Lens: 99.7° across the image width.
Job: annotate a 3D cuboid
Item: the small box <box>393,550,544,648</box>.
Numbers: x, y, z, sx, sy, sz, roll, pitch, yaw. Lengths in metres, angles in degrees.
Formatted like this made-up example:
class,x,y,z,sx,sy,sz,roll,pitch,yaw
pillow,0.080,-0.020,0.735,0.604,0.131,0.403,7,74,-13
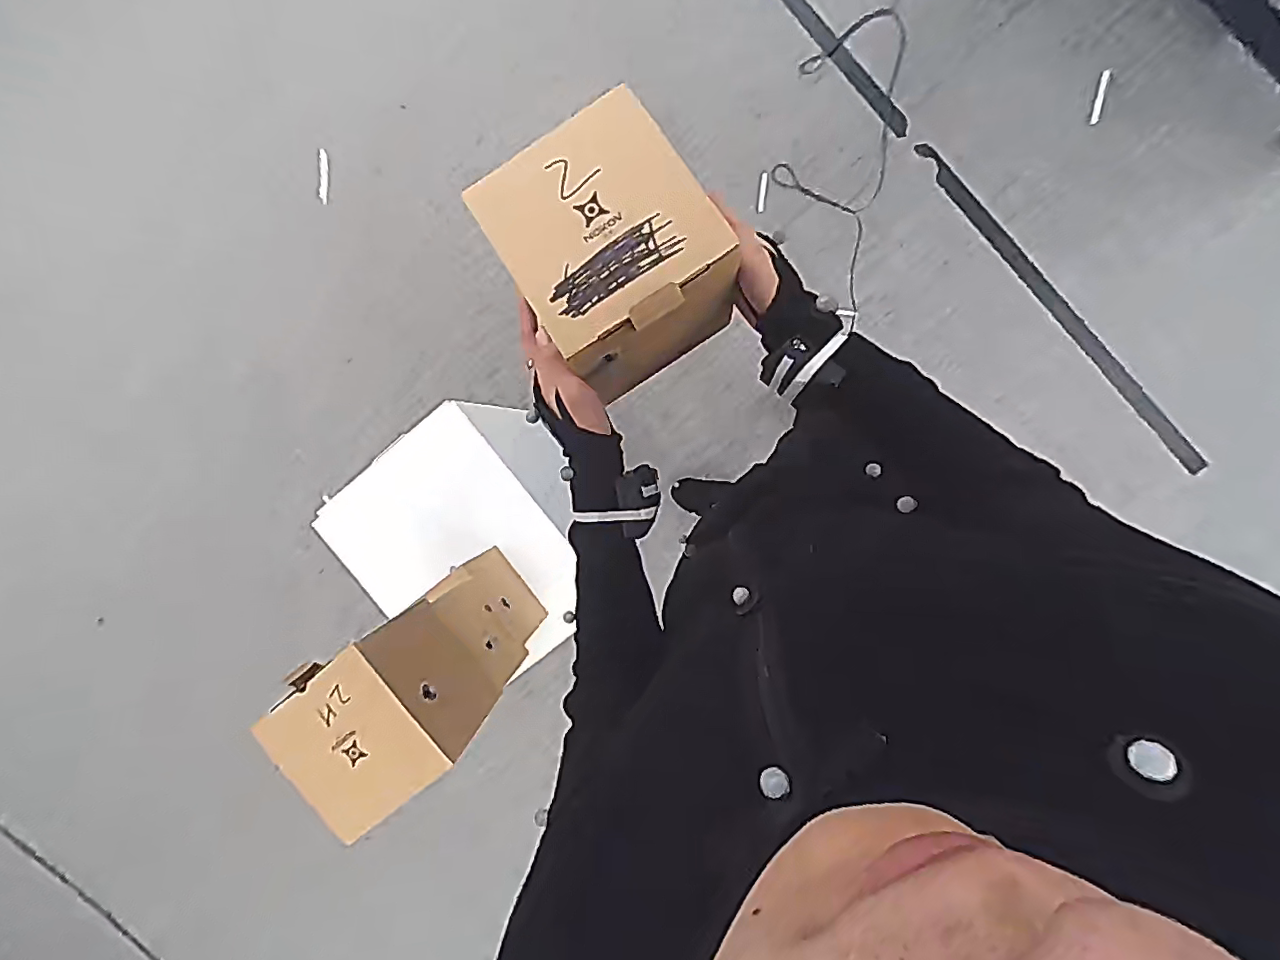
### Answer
class,x,y,z,sx,sy,sz,roll,pitch,yaw
small box,-0.304,0.253,1.000,0.168,0.176,0.179,-38,90,6

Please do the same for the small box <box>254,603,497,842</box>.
class,x,y,z,sx,sy,sz,roll,pitch,yaw
small box,-0.309,0.284,0.673,0.168,0.176,0.179,-39,90,6

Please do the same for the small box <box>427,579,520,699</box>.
class,x,y,z,sx,sy,sz,roll,pitch,yaw
small box,-0.307,0.279,0.839,0.179,0.176,0.168,-36,91,7
